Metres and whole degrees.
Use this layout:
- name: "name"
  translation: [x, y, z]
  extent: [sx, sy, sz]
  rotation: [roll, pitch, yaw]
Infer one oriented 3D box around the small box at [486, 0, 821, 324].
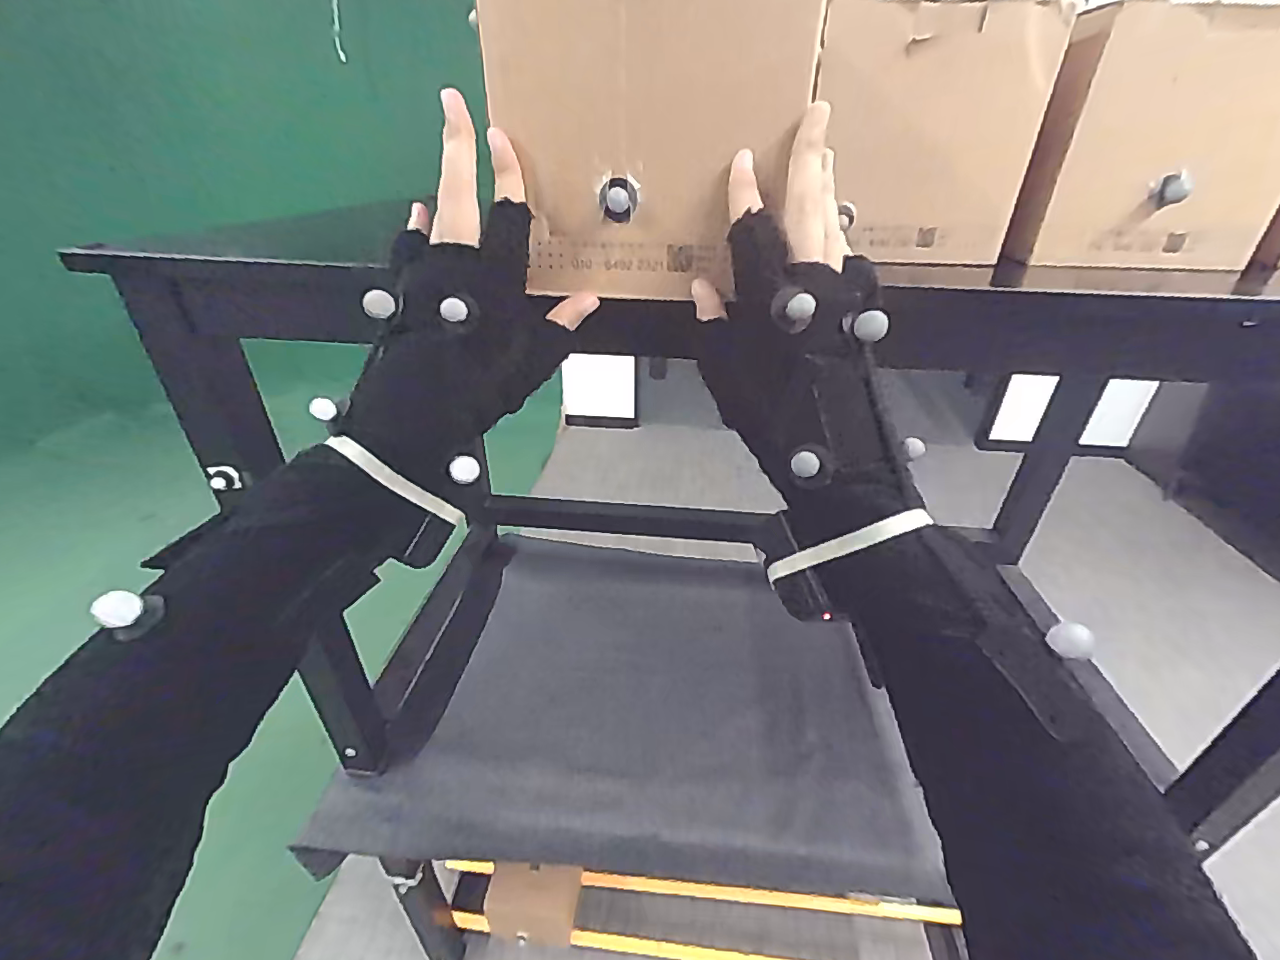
- name: "small box"
  translation: [0.008, -0.214, 0.362]
  extent: [0.168, 0.176, 0.179]
  rotation: [2, 32, 3]
